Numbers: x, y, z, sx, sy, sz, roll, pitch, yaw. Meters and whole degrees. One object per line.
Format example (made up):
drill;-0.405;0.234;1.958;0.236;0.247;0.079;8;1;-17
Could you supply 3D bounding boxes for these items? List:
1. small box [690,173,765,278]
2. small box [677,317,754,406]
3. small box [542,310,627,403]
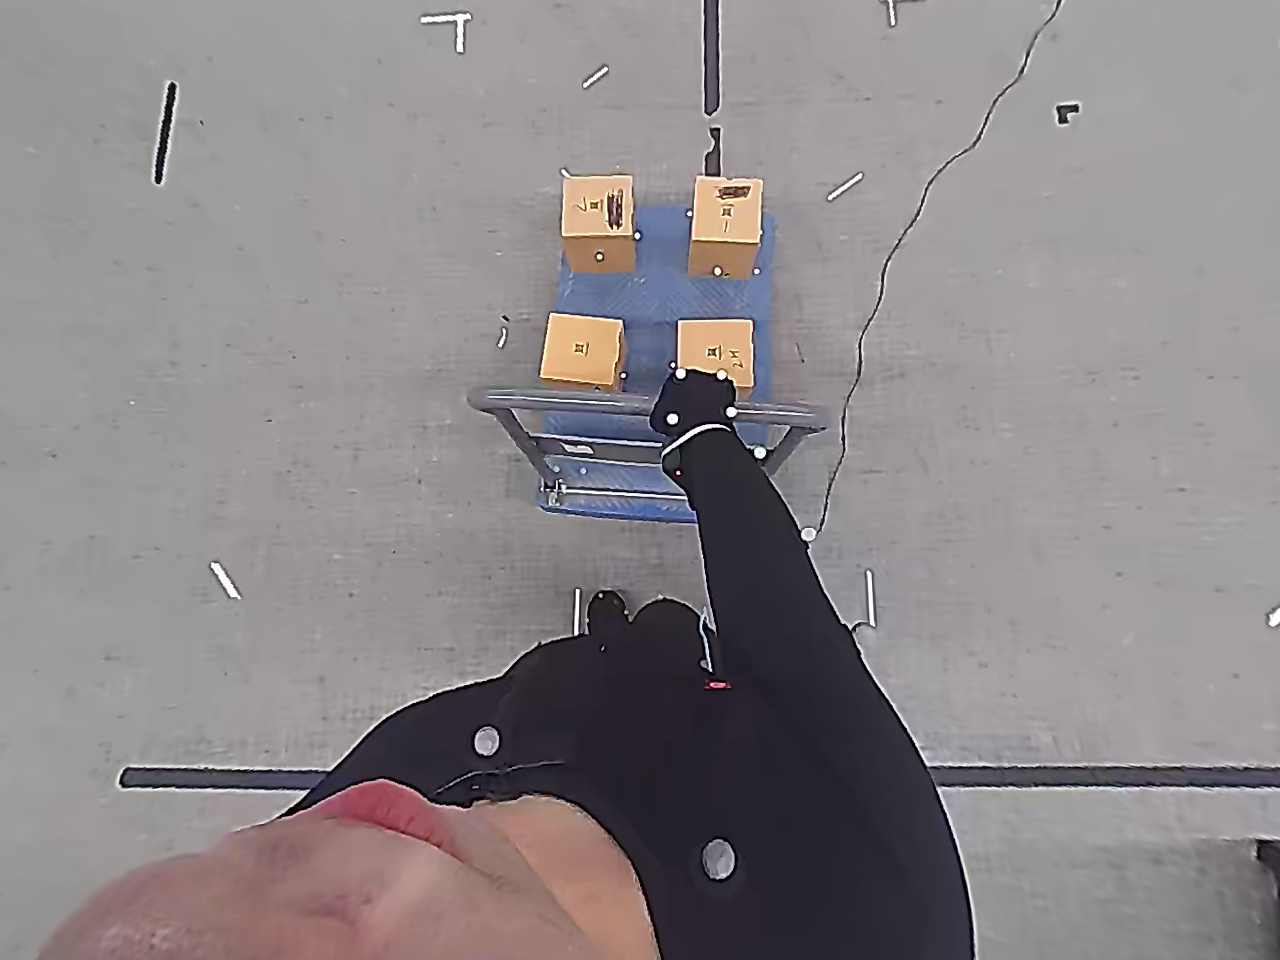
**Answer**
small box;0.218;-0.648;1.386;0.168;0.176;0.179;4;81;3
small box;0.179;-0.283;1.321;0.179;0.176;0.168;1;80;3
small box;-0.131;-0.298;1.337;0.179;0.176;0.168;7;79;2
